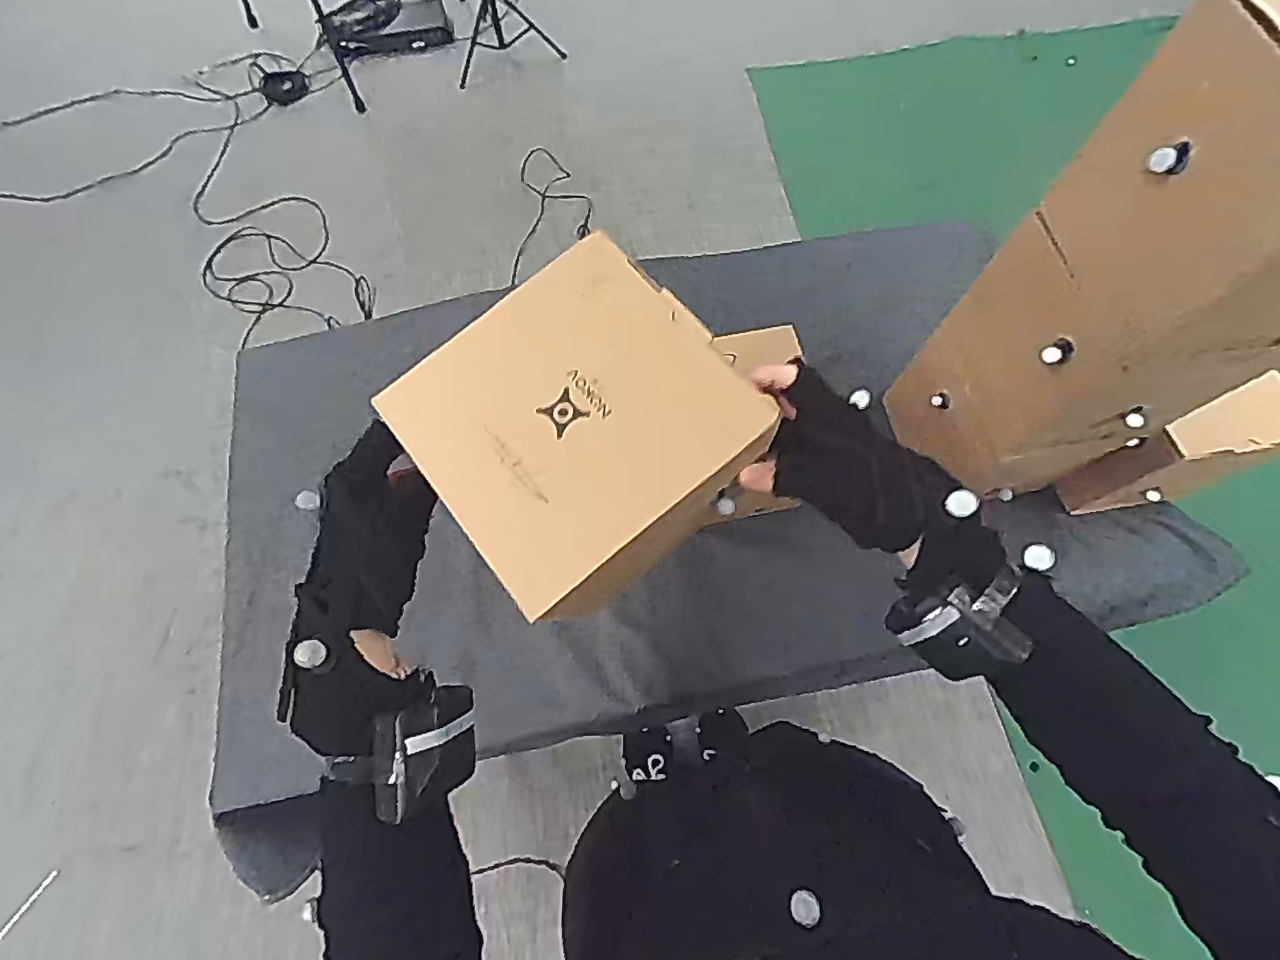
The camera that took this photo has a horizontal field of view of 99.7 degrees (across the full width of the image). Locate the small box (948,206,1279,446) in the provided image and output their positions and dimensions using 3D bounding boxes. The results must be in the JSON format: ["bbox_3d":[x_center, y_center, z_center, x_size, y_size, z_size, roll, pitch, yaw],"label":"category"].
[{"bbox_3d":[0.443,-0.144,0.527,0.168,0.176,0.179,-8,68,-2],"label":"small box"}]

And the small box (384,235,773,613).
[{"bbox_3d":[-0.034,-0.025,0.392,0.179,0.176,0.168,-38,77,-2],"label":"small box"}]

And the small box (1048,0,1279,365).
[{"bbox_3d":[0.438,-0.204,0.374,0.168,0.176,0.179,-7,68,-1],"label":"small box"}]
